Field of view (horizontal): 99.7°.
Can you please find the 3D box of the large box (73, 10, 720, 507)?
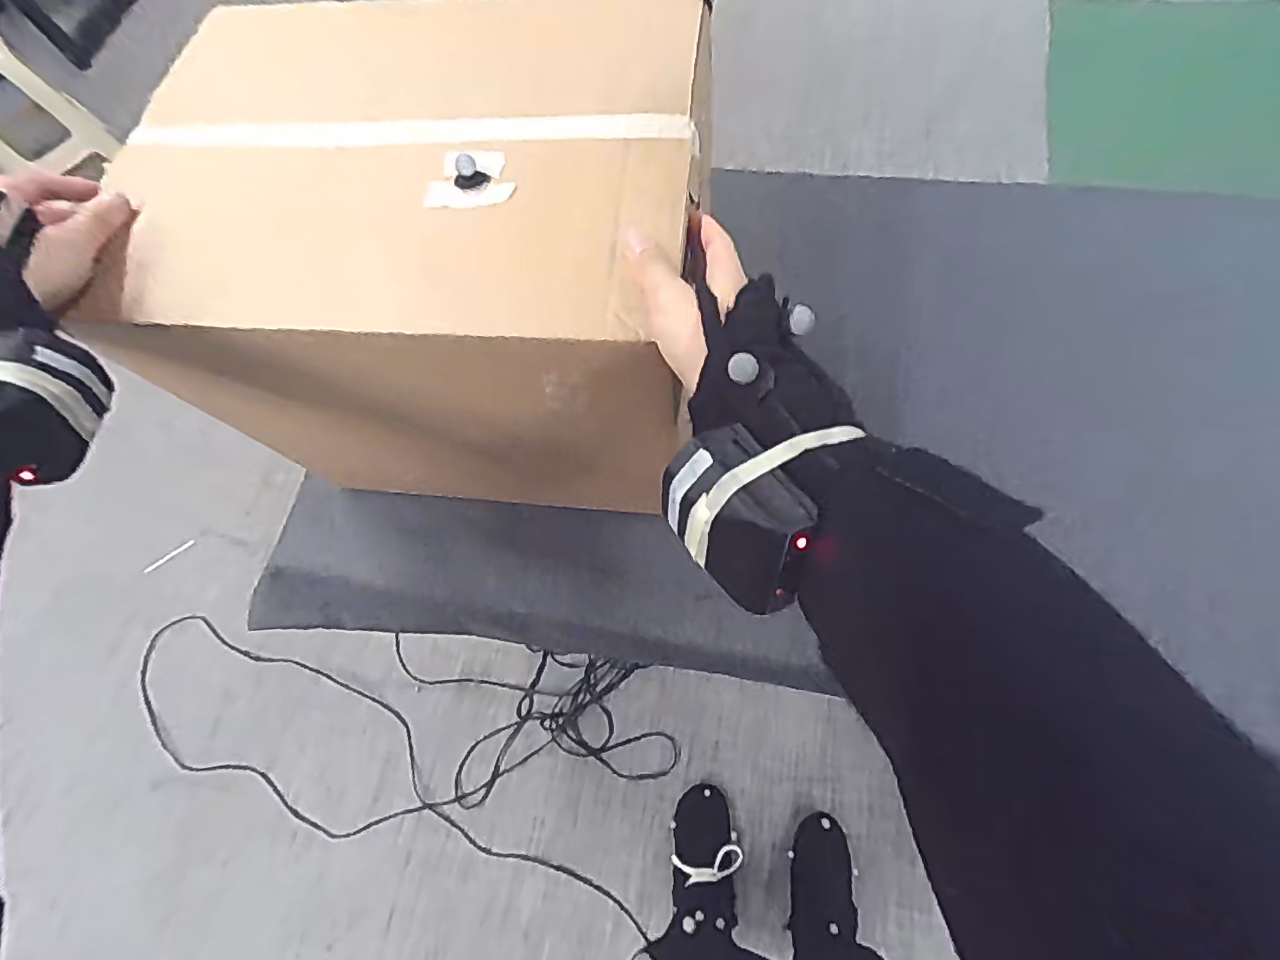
[{"bbox_3d":[-0.141,-0.175,0.515,0.408,0.320,0.320,4,70,6],"label":"large box"}]
